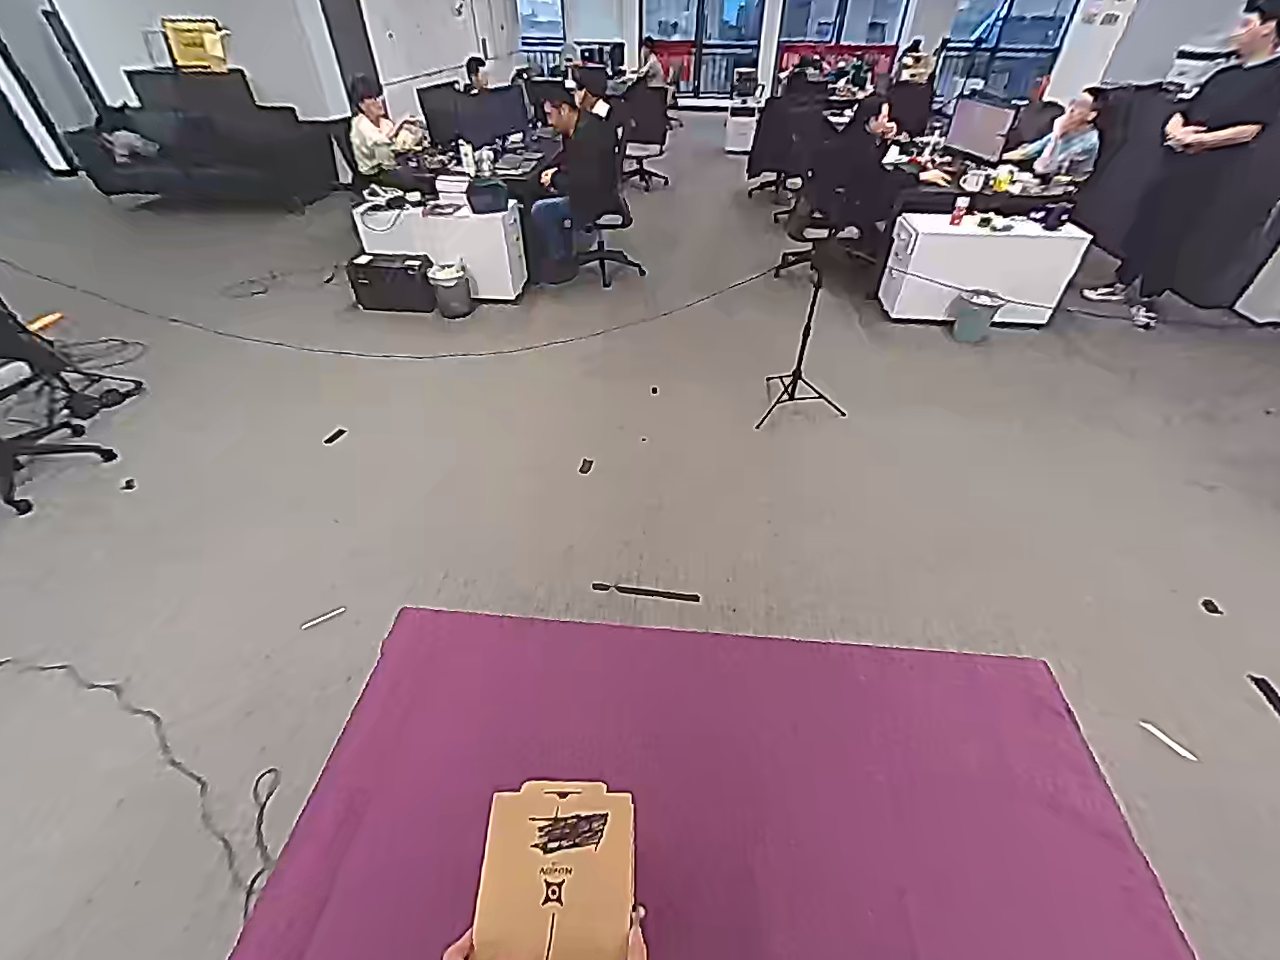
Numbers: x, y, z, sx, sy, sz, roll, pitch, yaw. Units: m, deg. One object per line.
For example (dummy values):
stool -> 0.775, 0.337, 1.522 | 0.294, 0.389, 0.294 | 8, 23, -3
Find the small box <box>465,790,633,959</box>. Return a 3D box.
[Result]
small box -> -0.094, 0.504, 0.654 | 0.168, 0.176, 0.179 | 1, 41, 1
